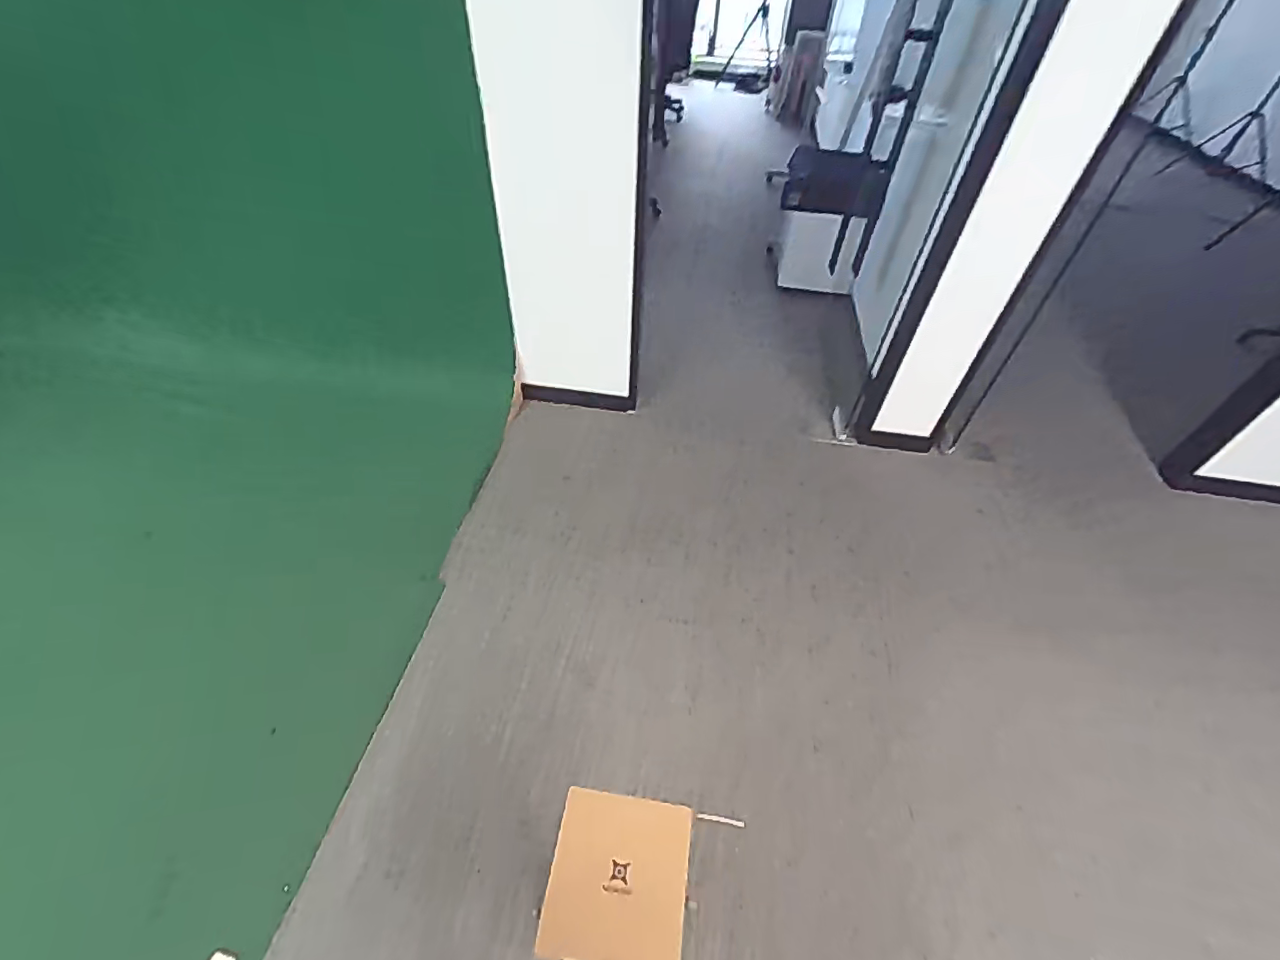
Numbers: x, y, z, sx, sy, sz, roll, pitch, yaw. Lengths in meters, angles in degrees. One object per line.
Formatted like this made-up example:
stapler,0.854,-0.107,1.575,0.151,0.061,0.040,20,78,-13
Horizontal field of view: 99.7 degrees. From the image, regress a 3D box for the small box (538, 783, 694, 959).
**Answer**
small box,-0.026,0.533,0.715,0.168,0.176,0.179,8,48,5
